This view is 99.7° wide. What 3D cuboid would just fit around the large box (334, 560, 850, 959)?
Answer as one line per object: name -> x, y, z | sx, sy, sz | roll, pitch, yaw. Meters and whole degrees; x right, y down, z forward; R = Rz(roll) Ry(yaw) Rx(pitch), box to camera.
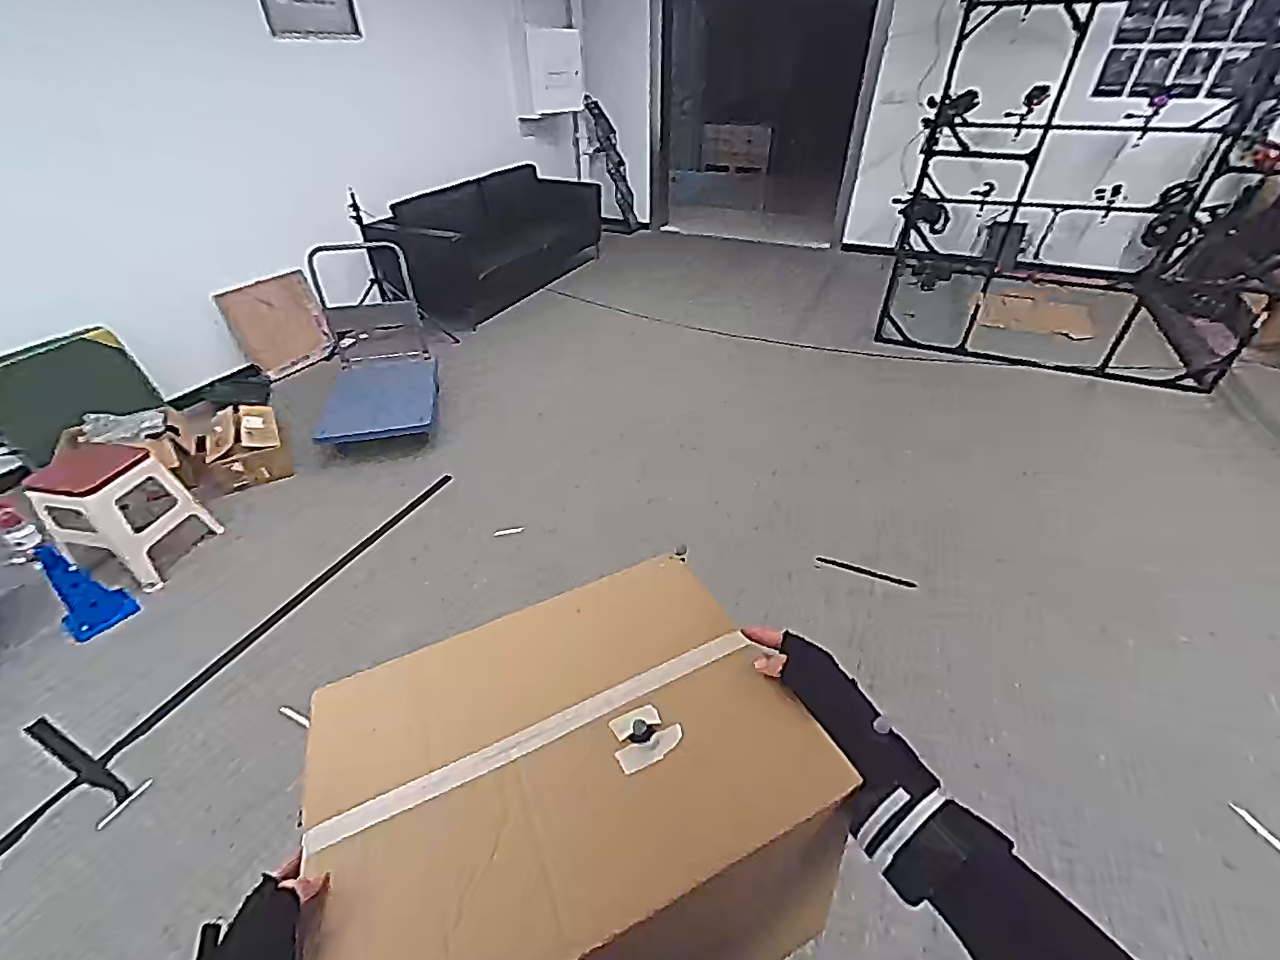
large box -> -0.053, 0.353, 0.575 | 0.408, 0.320, 0.320 | -18, 35, -18
